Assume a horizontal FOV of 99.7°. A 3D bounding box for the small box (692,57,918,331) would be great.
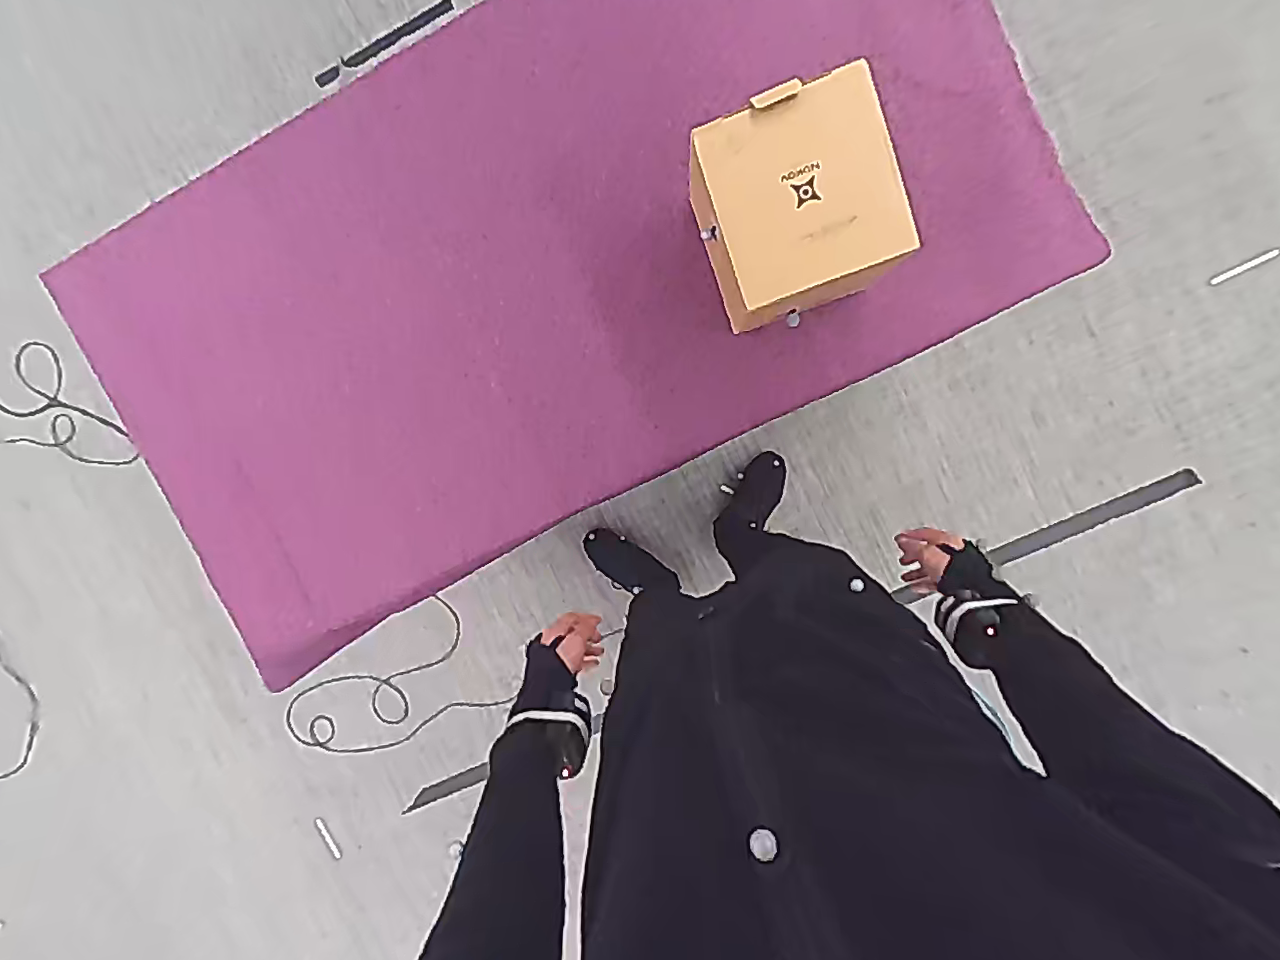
[{"bbox_3d":[0.155,-0.275,0.567,0.168,0.176,0.179,-18,95,8],"label":"small box"}]
